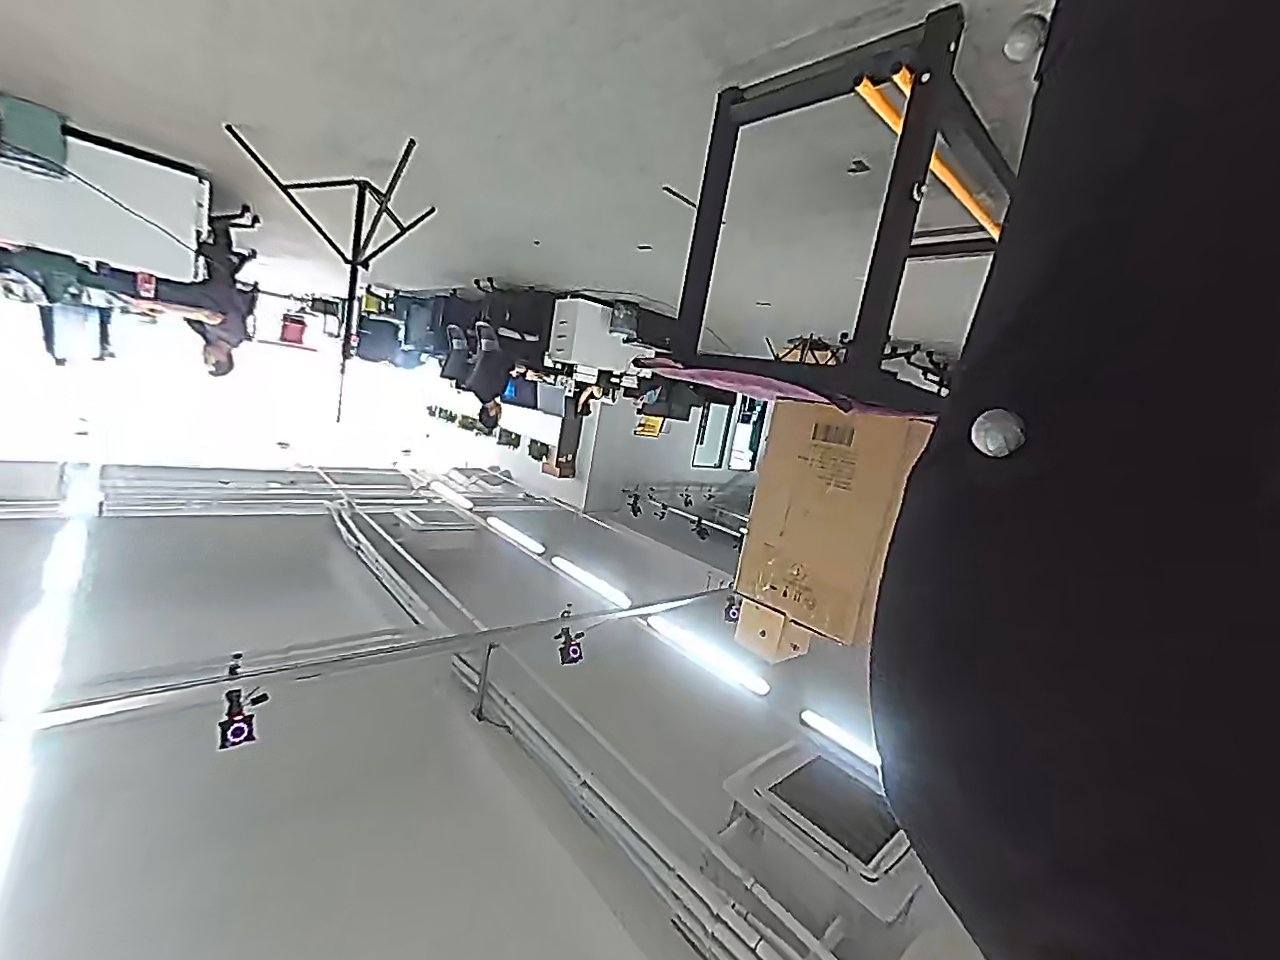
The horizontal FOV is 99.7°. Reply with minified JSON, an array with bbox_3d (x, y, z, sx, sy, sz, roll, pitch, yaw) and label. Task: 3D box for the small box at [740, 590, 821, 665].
[{"bbox_3d":[0.447,0.462,1.722,0.179,0.176,0.168,1,-167,-38],"label":"small box"}]
